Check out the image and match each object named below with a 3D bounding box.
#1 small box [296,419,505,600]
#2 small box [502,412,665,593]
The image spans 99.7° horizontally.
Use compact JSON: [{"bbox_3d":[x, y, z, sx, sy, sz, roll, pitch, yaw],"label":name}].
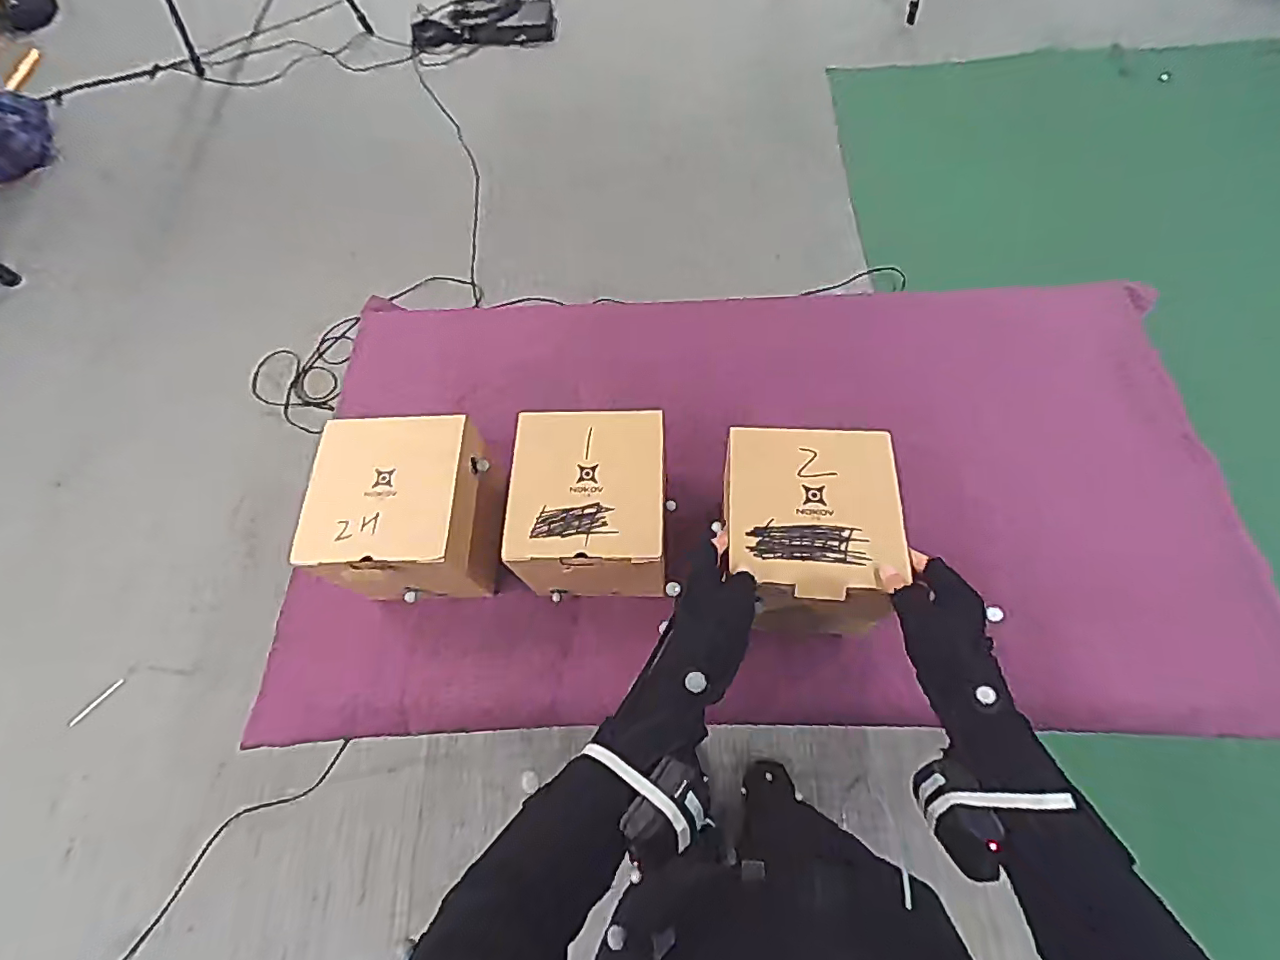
[{"bbox_3d":[-0.274,0.042,0.666,0.168,0.176,0.179,-2,66,3],"label":"small box"},{"bbox_3d":[-0.054,0.037,0.655,0.168,0.176,0.179,-1,65,4],"label":"small box"}]
